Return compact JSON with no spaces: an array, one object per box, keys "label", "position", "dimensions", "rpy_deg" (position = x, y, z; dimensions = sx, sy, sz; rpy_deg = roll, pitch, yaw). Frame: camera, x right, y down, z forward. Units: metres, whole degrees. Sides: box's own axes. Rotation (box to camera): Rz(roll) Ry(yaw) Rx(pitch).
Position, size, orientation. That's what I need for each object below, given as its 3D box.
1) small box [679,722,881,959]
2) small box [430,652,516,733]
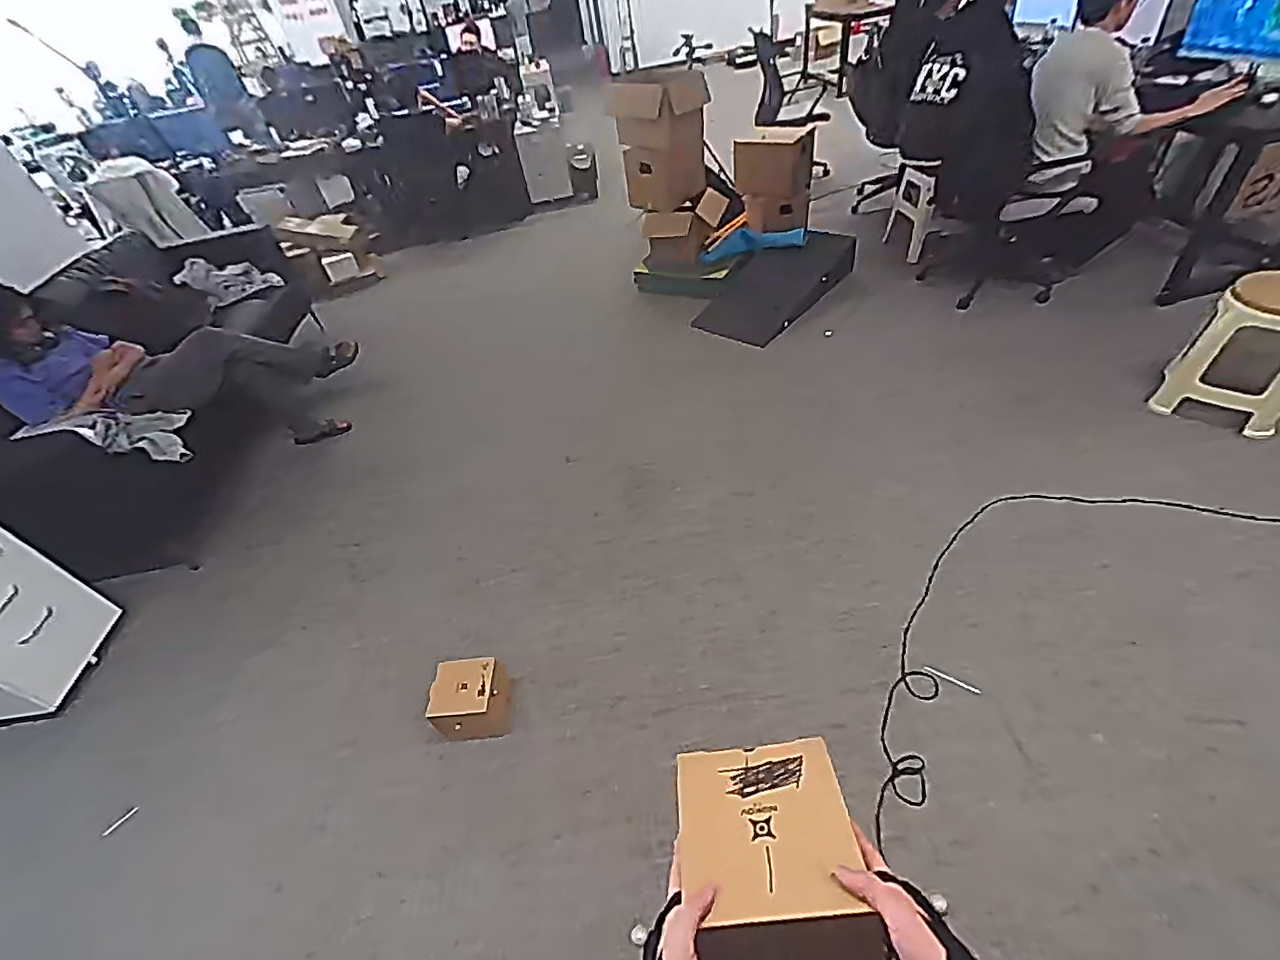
[{"label":"small box","position":[0.137,0.390,0.563],"dimensions":[0.168,0.176,0.179],"rpy_deg":[-11,22,8]},{"label":"small box","position":[-0.487,0.631,1.599],"dimensions":[0.179,0.176,0.168],"rpy_deg":[-7,43,5]}]
